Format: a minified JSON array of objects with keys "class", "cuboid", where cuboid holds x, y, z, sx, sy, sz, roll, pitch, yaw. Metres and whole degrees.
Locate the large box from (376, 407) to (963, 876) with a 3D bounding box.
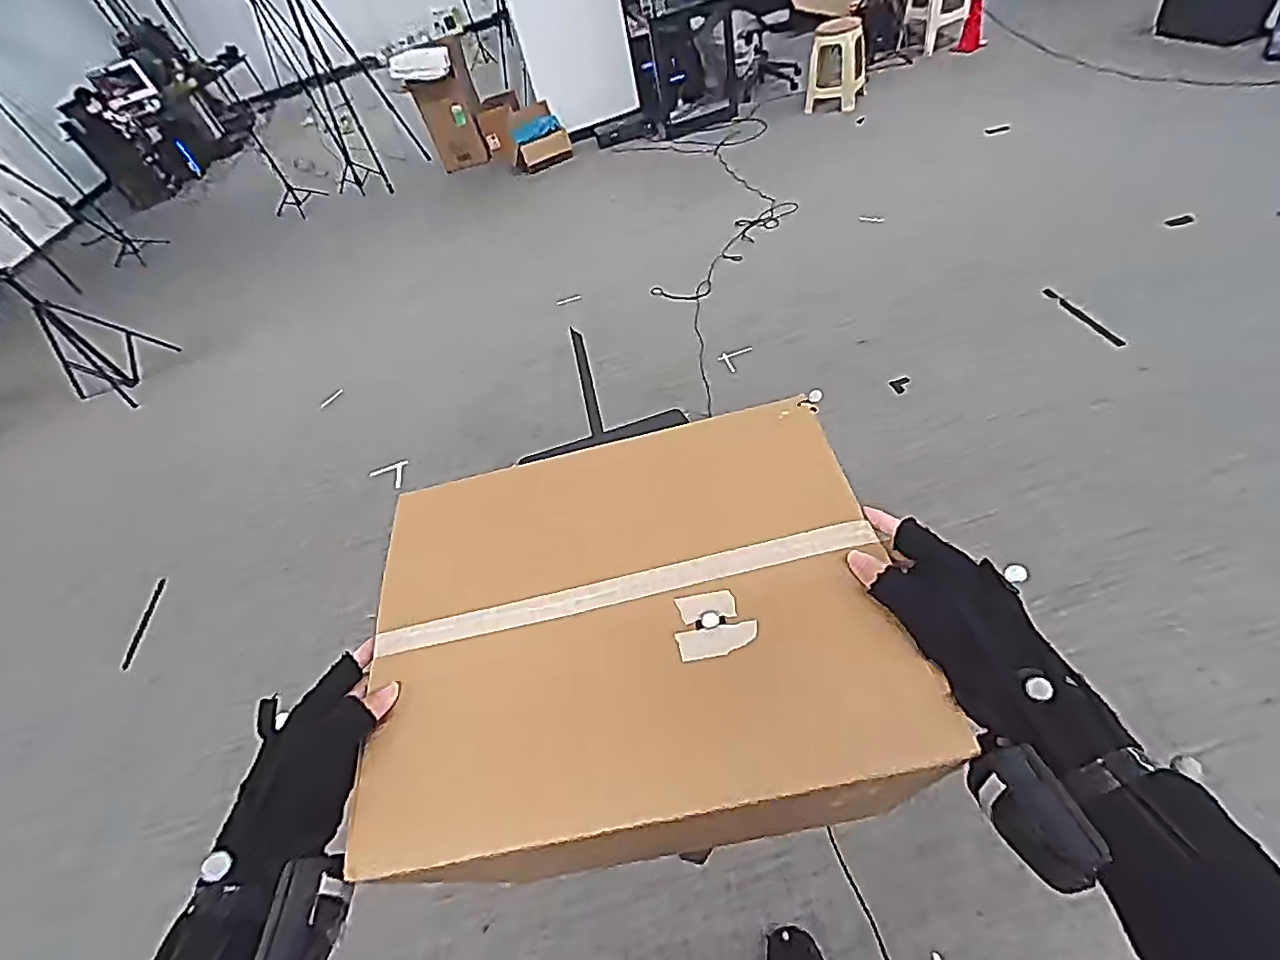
[{"class":"large box","cuboid":[0.017,0.180,0.557,0.408,0.320,0.320,-13,53,3]}]
